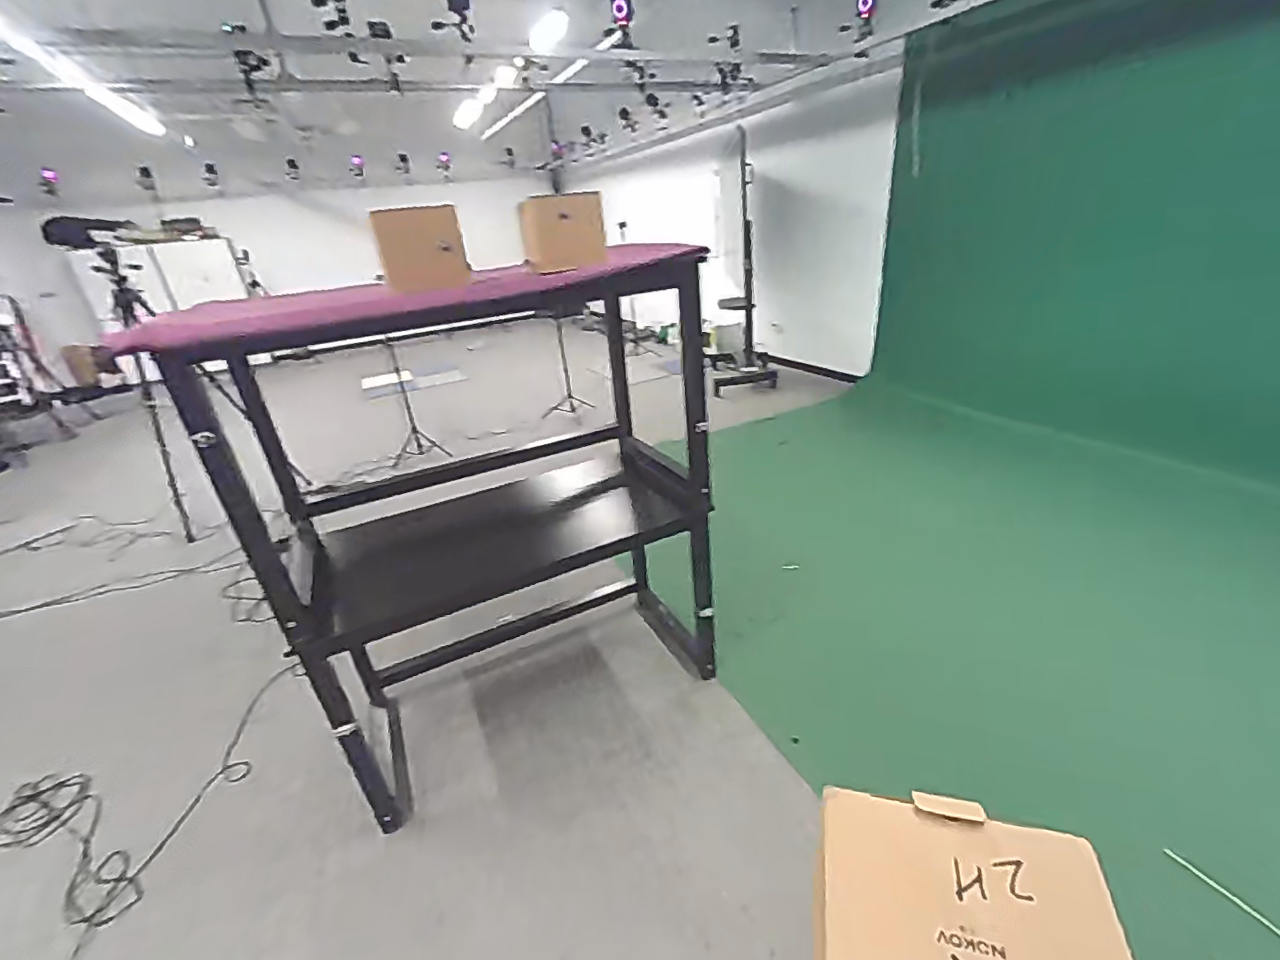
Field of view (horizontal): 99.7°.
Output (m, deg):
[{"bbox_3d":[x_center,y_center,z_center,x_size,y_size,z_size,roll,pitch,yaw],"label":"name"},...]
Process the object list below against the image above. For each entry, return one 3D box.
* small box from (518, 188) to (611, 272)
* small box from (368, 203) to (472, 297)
[{"bbox_3d":[-0.188,-0.620,1.355,0.179,0.176,0.168,-16,26,-20],"label":"small box"},{"bbox_3d":[-0.487,-0.515,1.209,0.179,0.176,0.168,-18,28,-22],"label":"small box"}]
